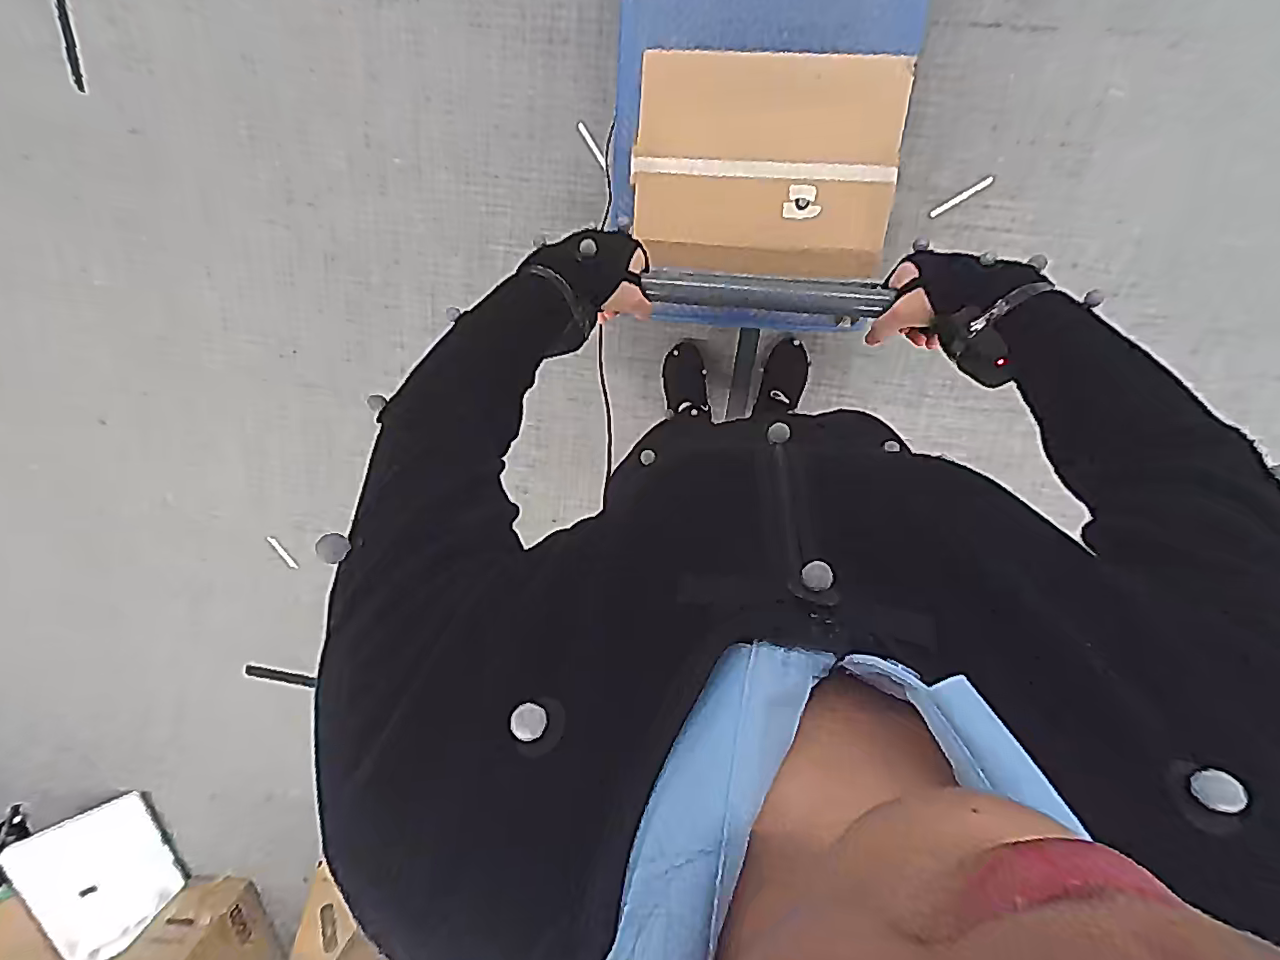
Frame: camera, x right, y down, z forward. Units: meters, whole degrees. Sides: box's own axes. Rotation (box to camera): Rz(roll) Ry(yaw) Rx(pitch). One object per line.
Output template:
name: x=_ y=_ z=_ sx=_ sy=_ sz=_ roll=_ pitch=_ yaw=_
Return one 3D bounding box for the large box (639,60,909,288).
large box: x=0.214 y=-0.534 z=1.009 sx=0.408 sy=0.320 sz=0.320 roll=5 pitch=108 yaw=5
